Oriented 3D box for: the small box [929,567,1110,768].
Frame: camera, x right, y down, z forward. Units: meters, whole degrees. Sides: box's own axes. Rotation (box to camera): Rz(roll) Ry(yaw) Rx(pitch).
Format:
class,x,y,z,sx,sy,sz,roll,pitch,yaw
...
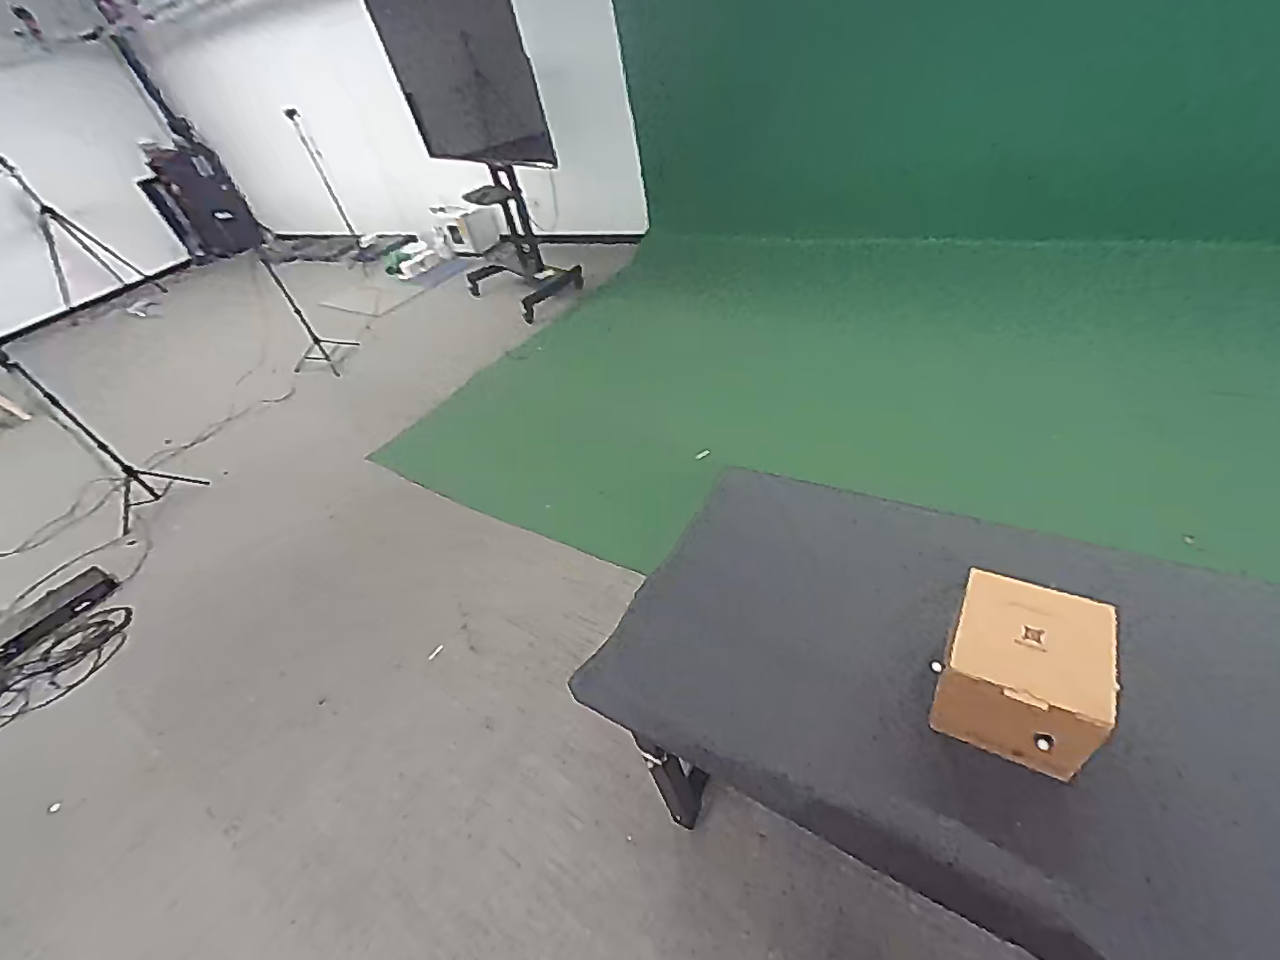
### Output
class,x,y,z,sx,sy,sz,roll,pitch,yaw
small box,0.514,0.258,0.747,0.168,0.176,0.179,16,49,28
